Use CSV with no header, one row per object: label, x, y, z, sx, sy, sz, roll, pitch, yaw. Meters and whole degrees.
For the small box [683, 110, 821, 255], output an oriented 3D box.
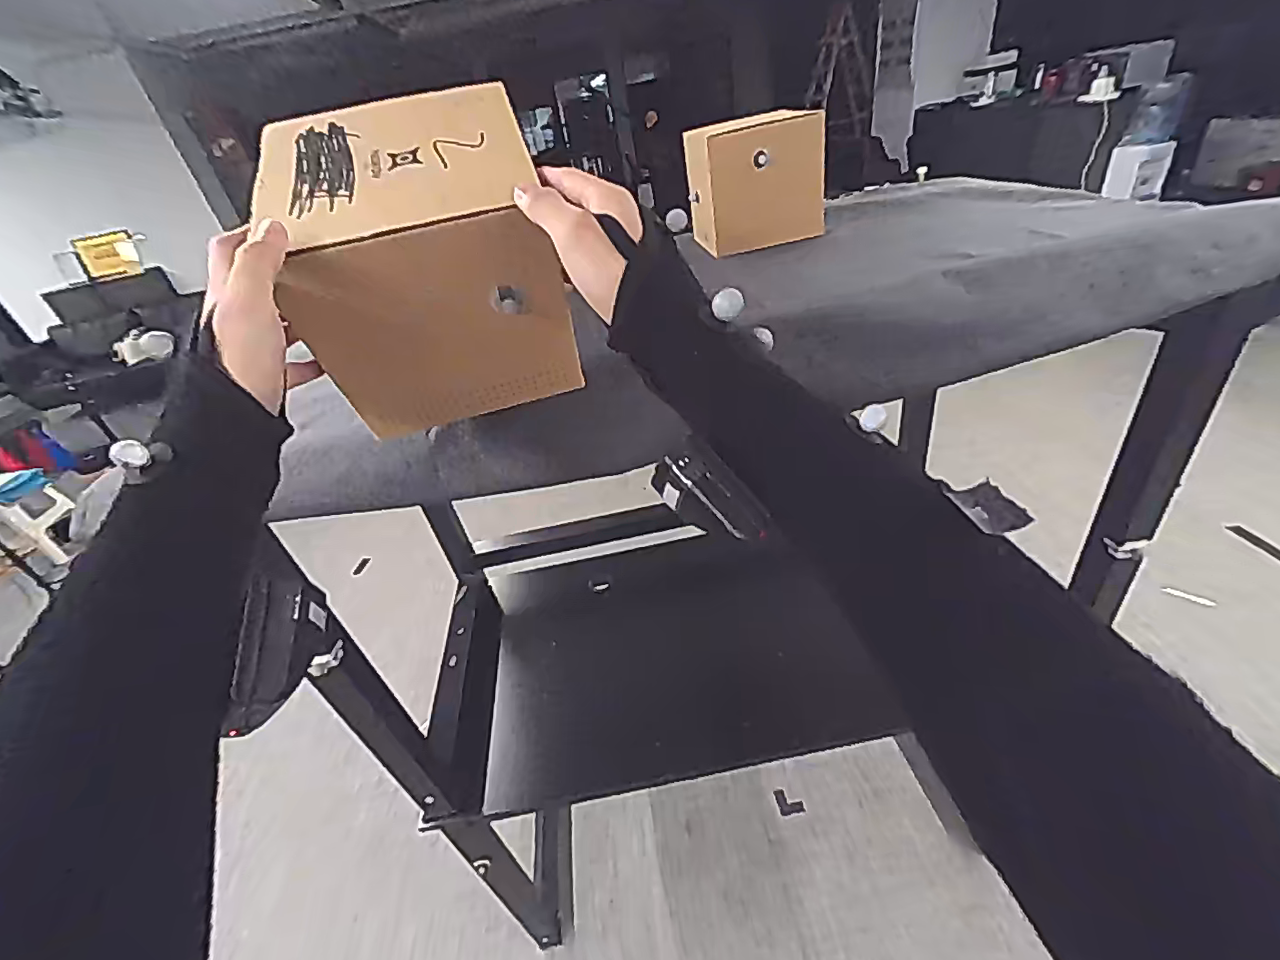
small box,0.177,-0.474,0.865,0.179,0.176,0.168,-12,35,0
